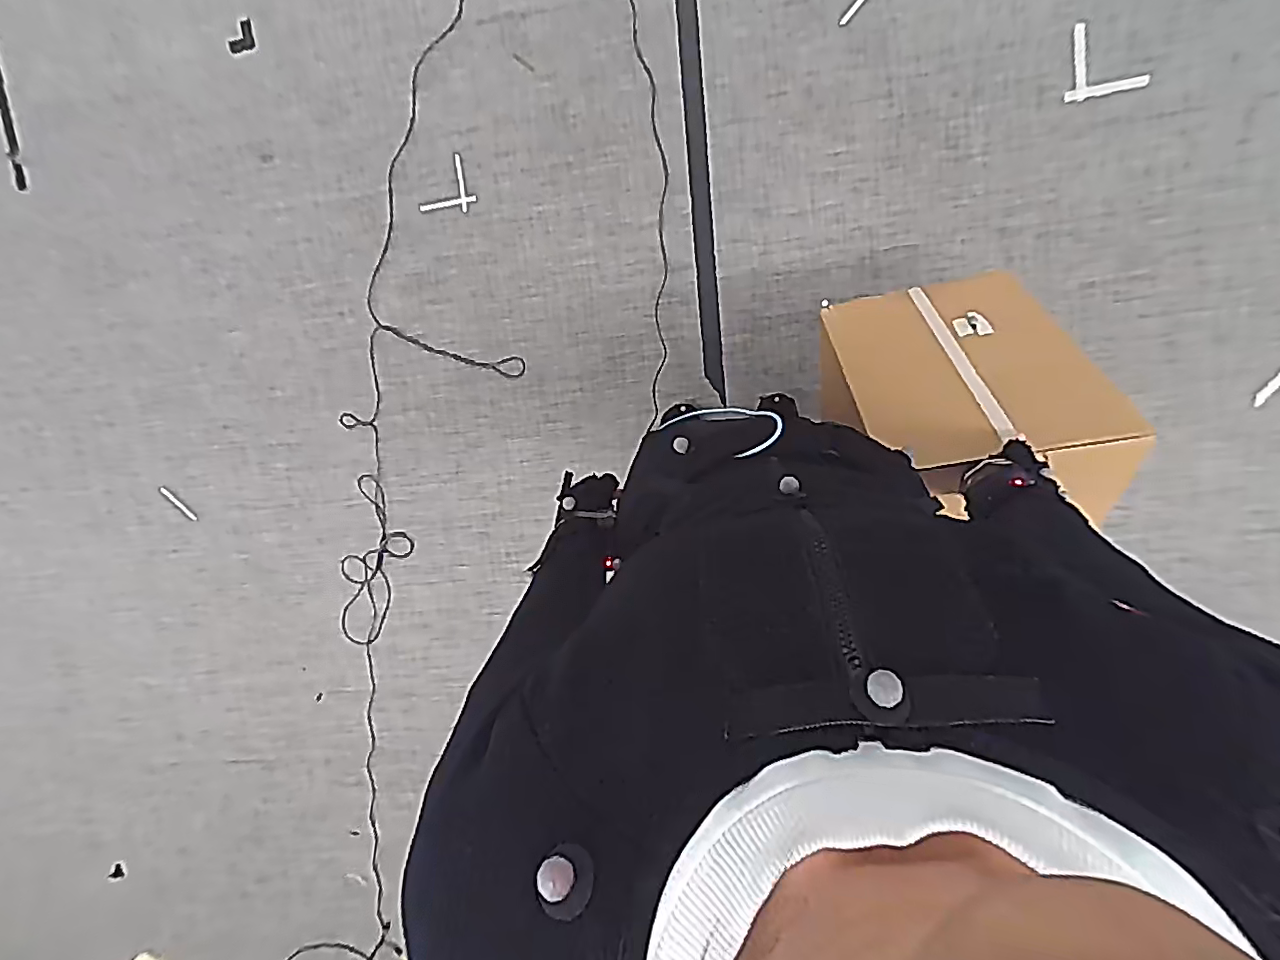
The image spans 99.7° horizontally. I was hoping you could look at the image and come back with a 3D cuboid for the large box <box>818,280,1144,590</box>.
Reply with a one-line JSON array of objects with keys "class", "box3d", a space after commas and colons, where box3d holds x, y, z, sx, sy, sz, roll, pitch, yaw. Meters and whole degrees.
[{"class": "large box", "box3d": [0.510, -0.077, 0.927, 0.320, 0.408, 0.320, -9, 136, 9]}]
